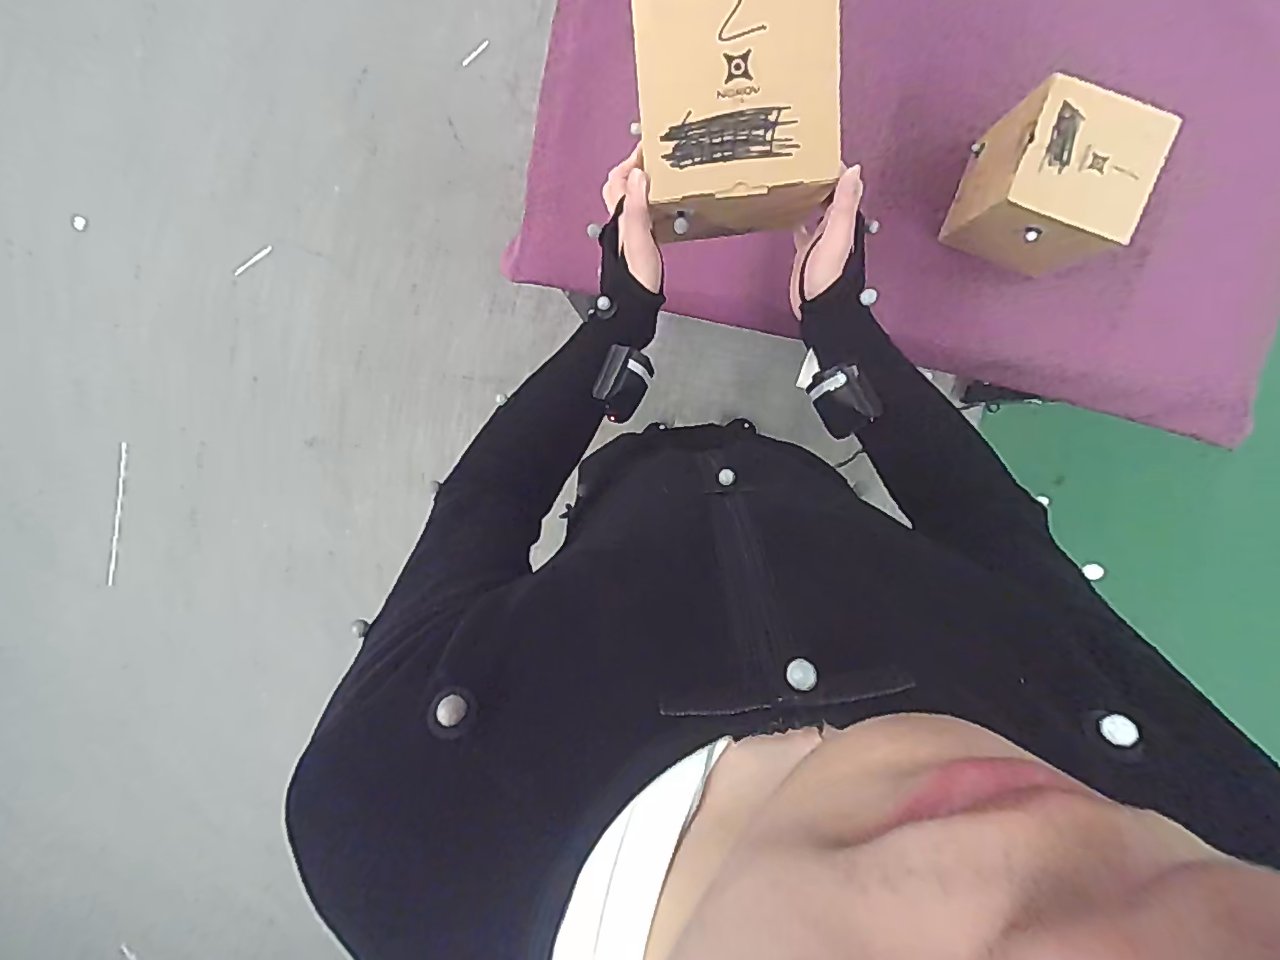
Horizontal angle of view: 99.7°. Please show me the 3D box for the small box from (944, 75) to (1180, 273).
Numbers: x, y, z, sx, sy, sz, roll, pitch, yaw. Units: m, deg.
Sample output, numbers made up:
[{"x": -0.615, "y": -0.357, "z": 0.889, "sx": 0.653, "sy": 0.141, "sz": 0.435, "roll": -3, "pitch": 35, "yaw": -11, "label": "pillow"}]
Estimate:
[{"x": 0.579, "y": -0.417, "z": 0.772, "sx": 0.179, "sy": 0.176, "sz": 0.168, "roll": 20, "pitch": 97, "yaw": -2, "label": "small box"}]
